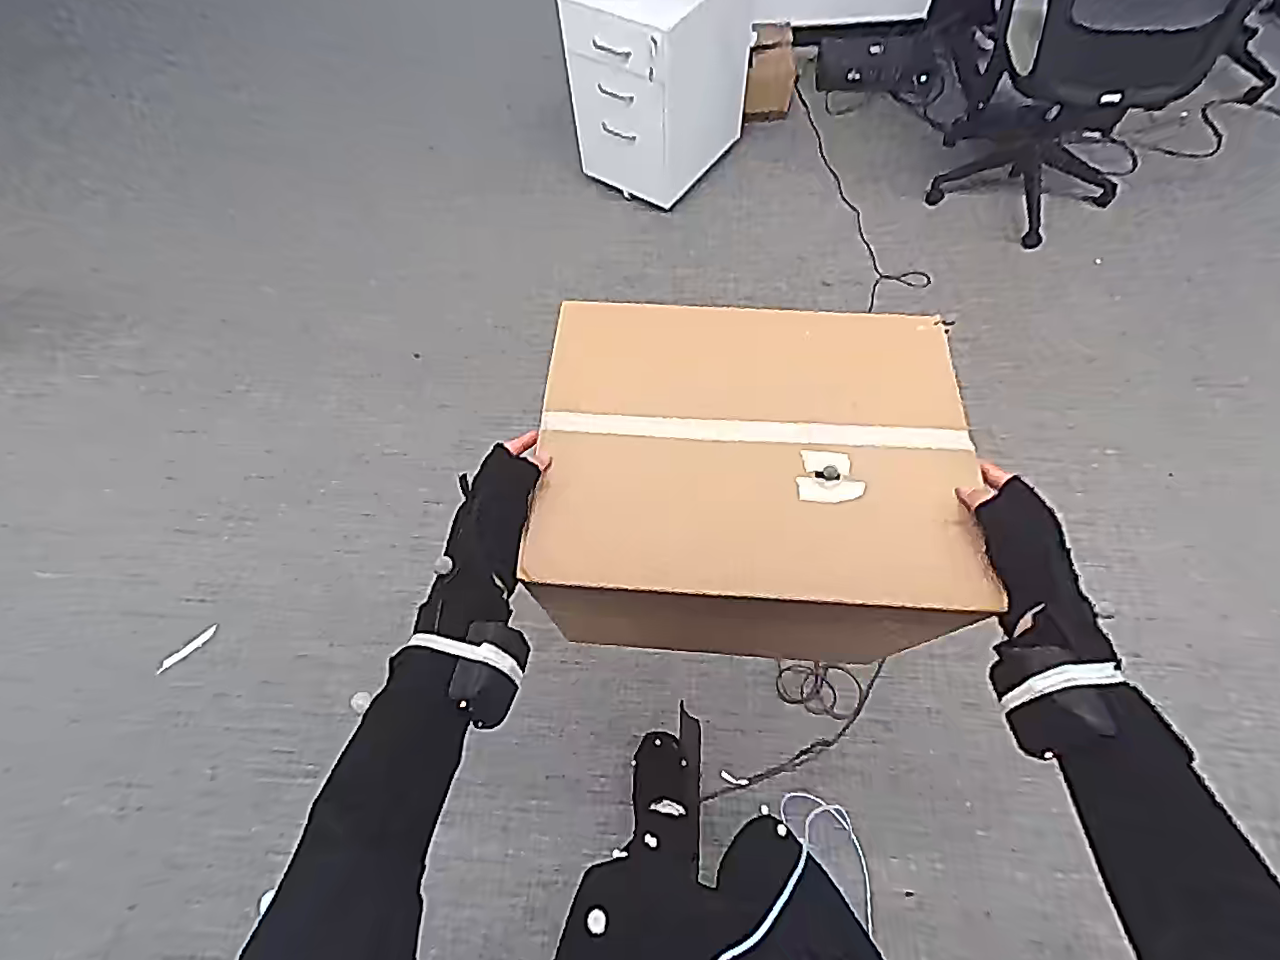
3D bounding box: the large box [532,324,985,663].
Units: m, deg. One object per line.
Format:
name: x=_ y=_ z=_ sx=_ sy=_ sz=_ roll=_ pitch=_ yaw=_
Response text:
large box: x=0.109 y=0.036 z=0.668 sx=0.408 sy=0.320 sz=0.320 roll=4 pitch=64 yaw=2
